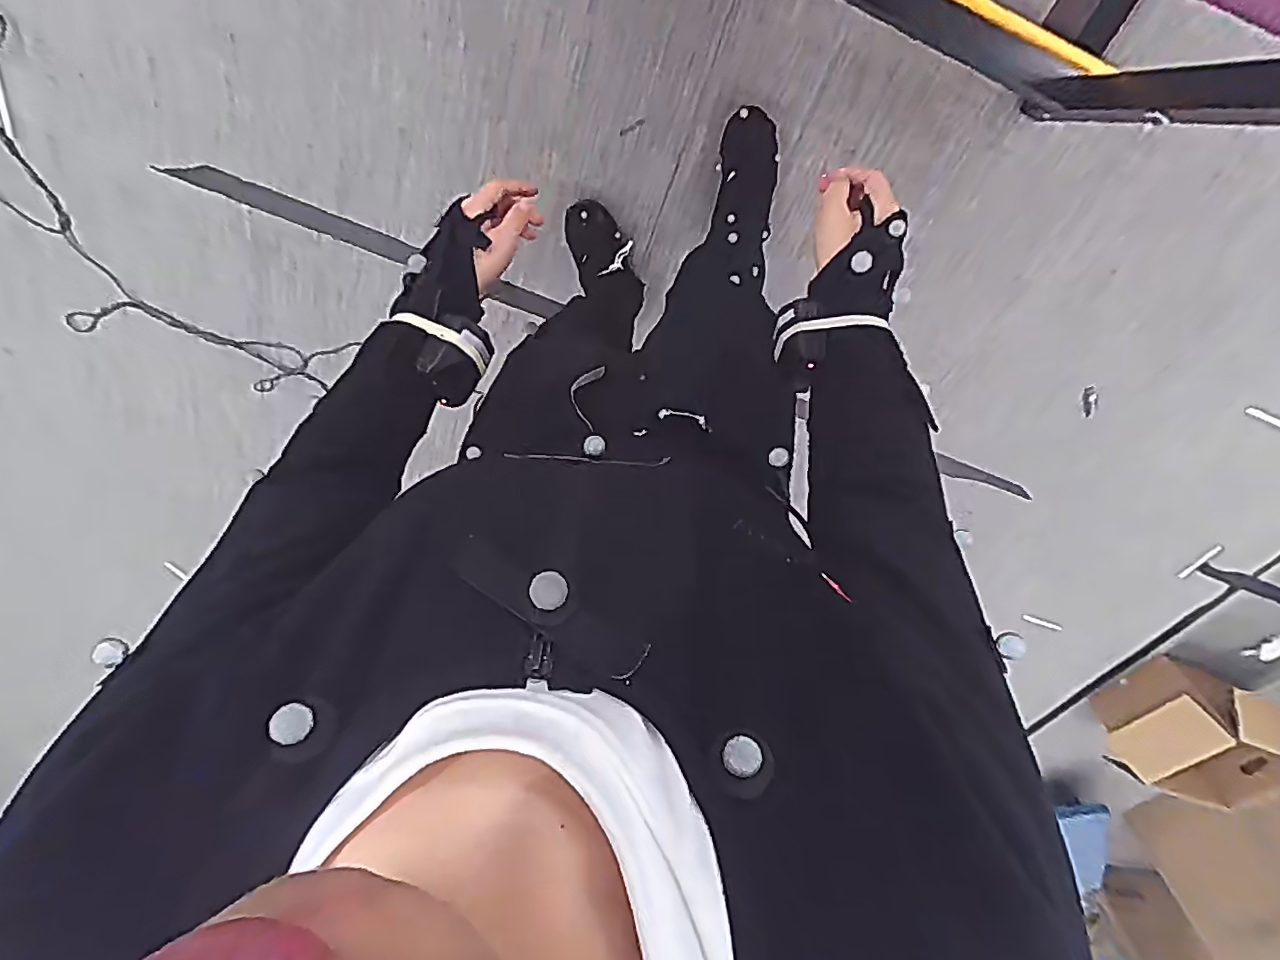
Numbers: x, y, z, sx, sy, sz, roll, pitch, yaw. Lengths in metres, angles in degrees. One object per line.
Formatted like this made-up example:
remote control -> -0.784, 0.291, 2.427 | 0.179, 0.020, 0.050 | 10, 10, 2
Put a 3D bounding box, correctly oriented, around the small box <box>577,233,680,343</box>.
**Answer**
small box -> -0.024, -0.398, 1.120 | 0.179, 0.176, 0.168 | -13, 120, 5
